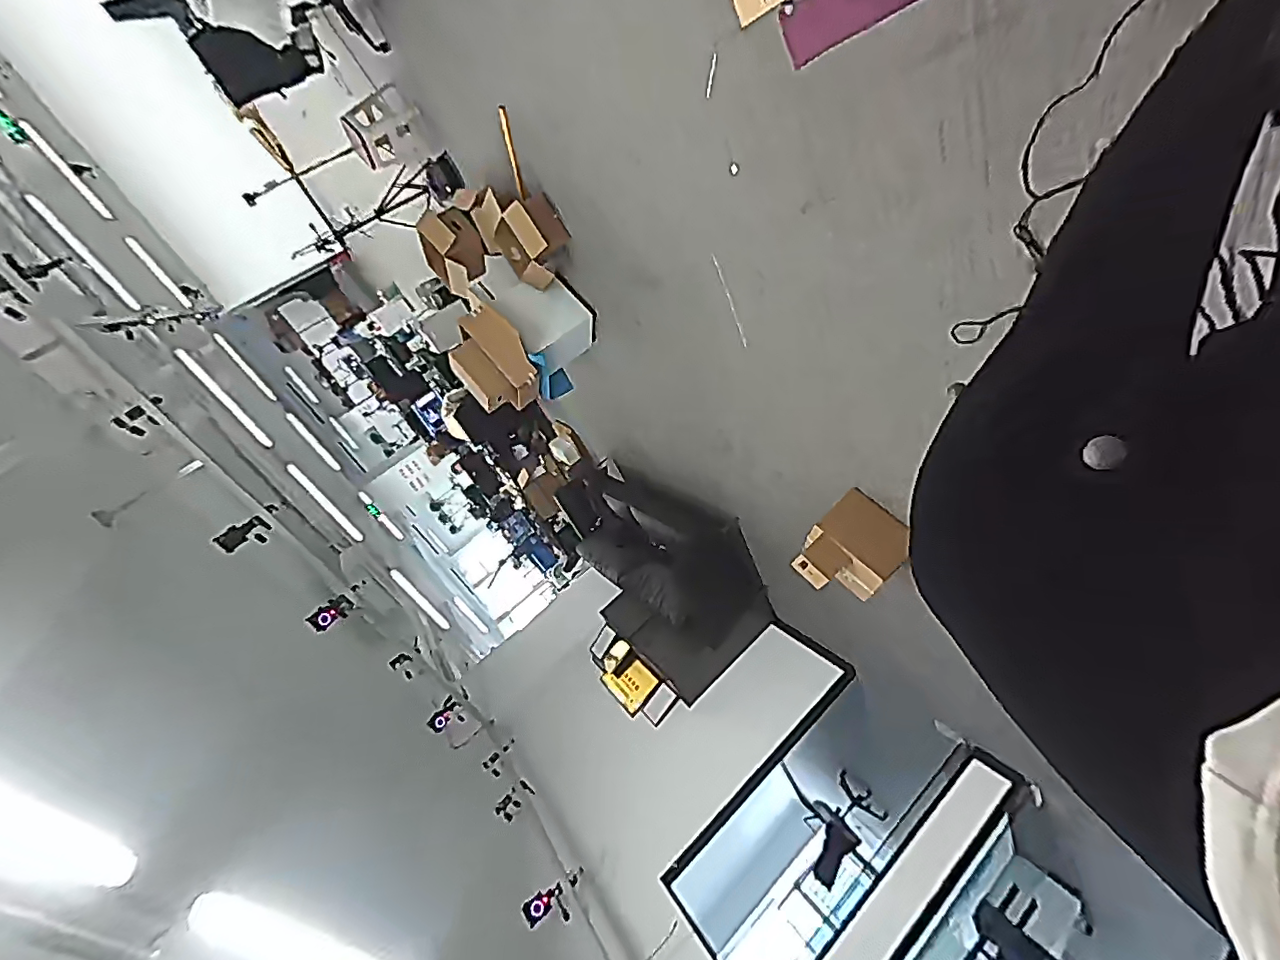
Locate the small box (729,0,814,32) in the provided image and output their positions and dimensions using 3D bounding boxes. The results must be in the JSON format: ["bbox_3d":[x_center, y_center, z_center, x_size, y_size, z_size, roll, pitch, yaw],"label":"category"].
[{"bbox_3d":[0.203,-0.690,0.641,0.168,0.176,0.179,26,149,55],"label":"small box"}]

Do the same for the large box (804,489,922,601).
[{"bbox_3d":[1.106,0.324,2.718,0.408,0.320,0.320,42,162,24],"label":"large box"}]
